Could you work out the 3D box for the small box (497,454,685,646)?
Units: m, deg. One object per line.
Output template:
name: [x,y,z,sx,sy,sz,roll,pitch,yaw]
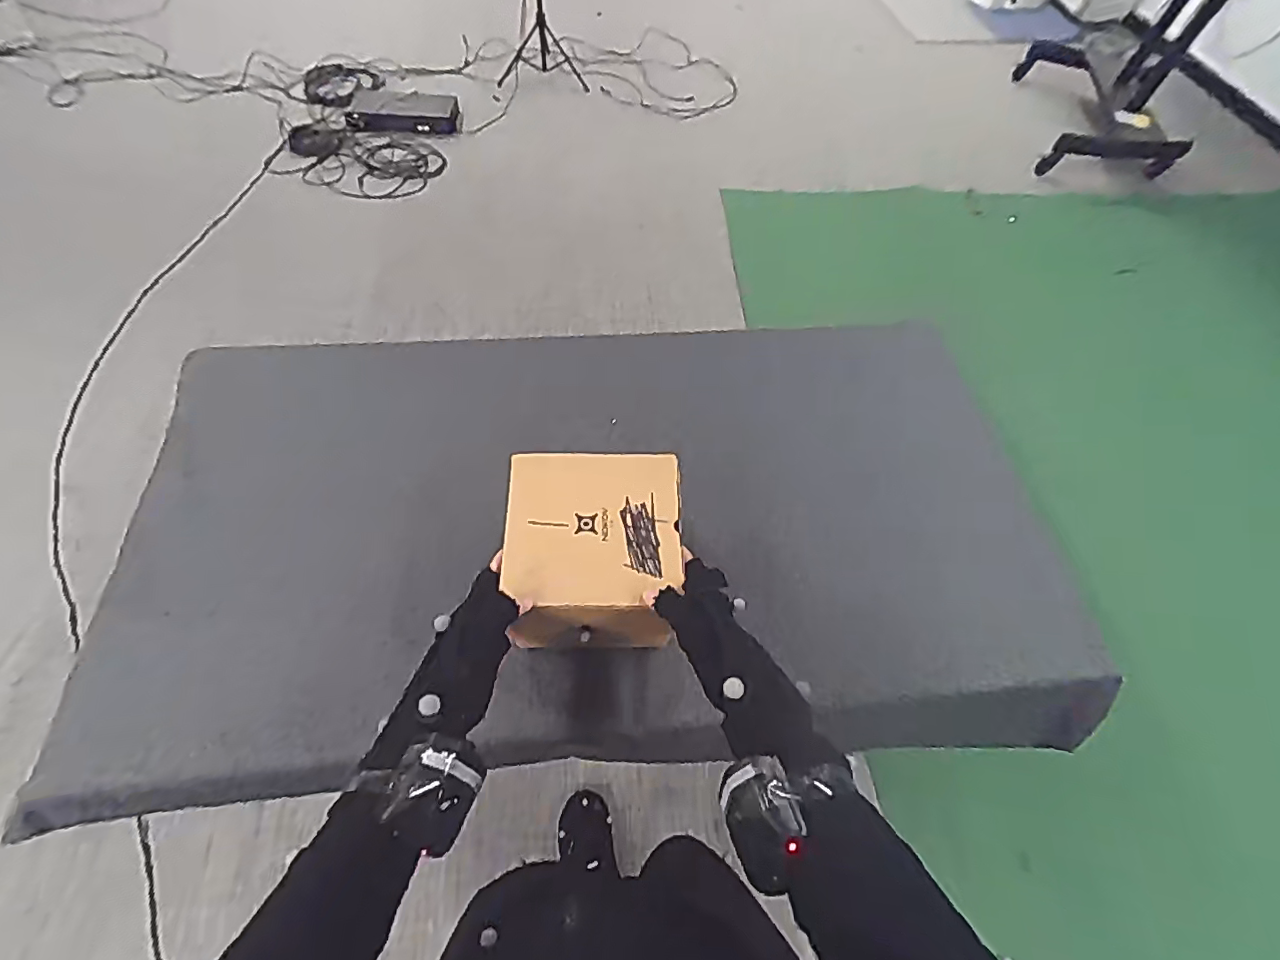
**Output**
small box: [-0.052,0.085,0.604,0.179,0.176,0.168,1,61,-4]
